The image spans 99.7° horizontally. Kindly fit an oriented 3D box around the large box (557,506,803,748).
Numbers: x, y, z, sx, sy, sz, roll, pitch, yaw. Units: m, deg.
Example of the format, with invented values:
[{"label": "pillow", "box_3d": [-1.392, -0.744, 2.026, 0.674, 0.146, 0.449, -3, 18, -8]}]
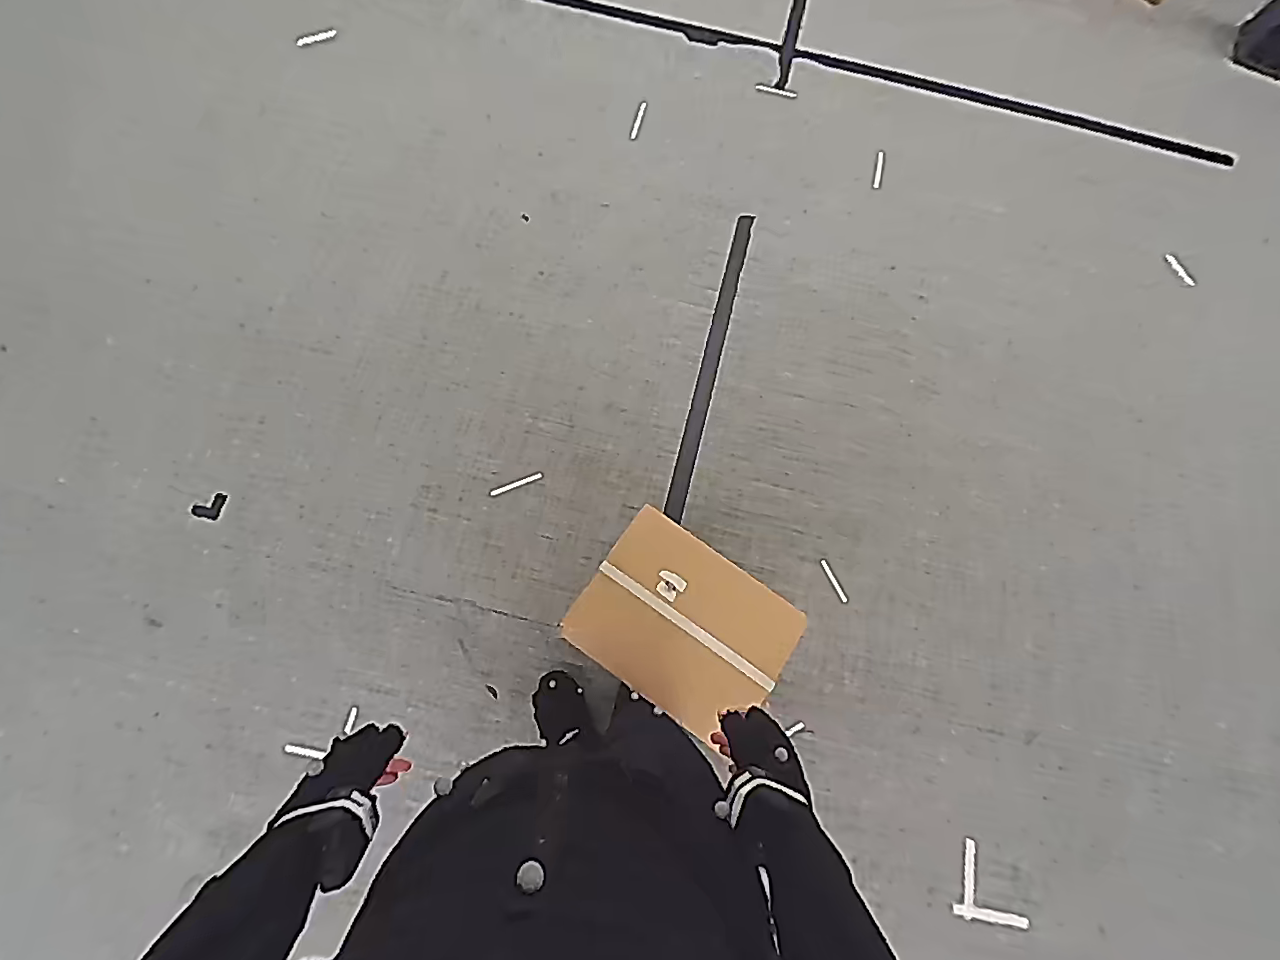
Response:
[{"label": "large box", "box_3d": [0.079, 0.318, 1.215, 0.408, 0.320, 0.320, 35, 76, 7]}]
